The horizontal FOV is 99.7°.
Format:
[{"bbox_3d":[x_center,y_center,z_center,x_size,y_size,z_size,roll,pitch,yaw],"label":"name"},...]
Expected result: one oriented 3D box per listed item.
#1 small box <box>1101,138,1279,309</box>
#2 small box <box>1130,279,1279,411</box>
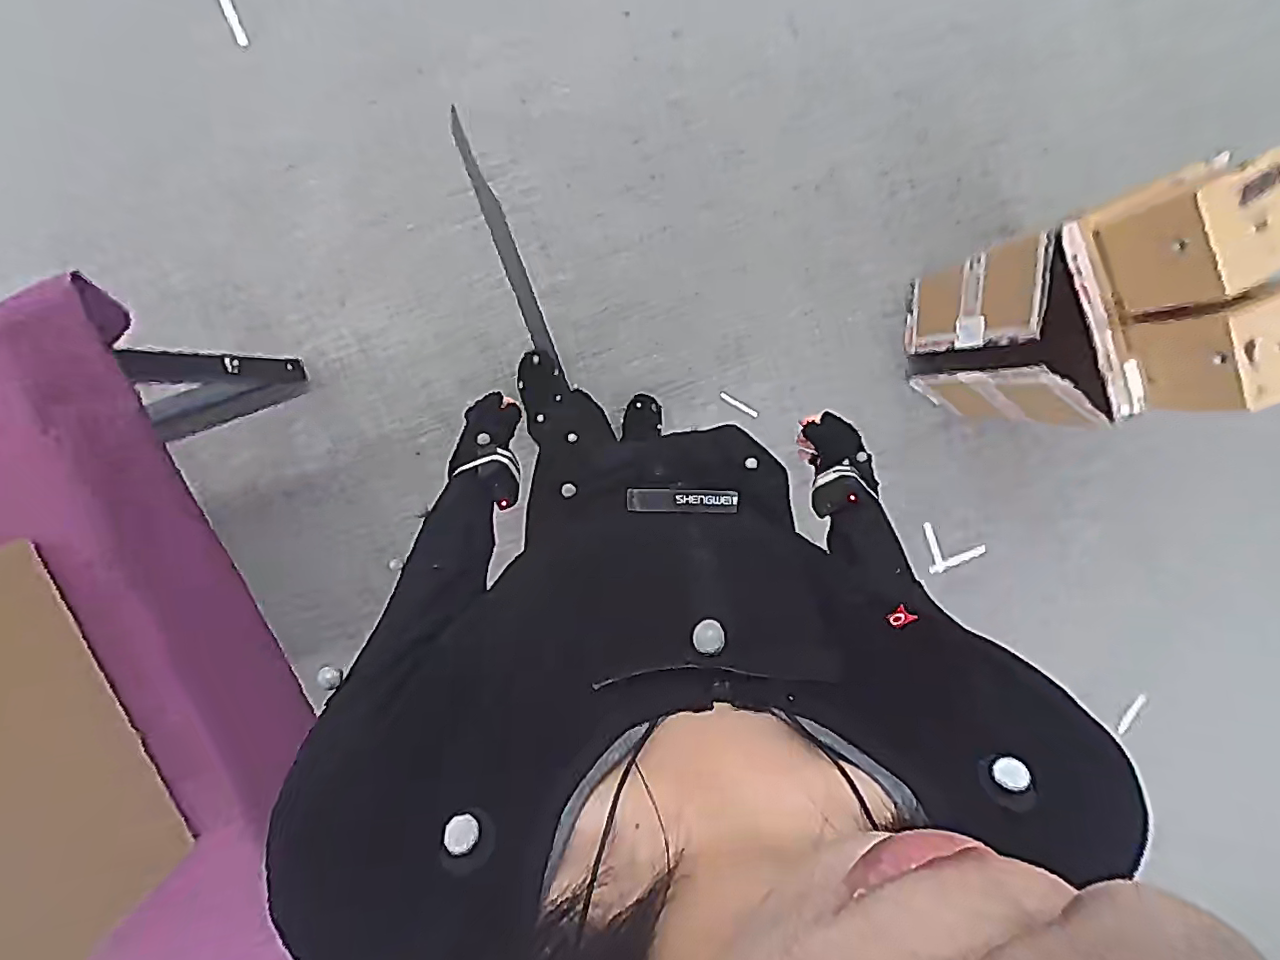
[{"bbox_3d":[0.924,-0.408,0.892,0.168,0.176,0.179,-28,98,2],"label":"small box"},{"bbox_3d":[1.010,-0.232,0.926,0.179,0.176,0.168,-25,101,1],"label":"small box"}]
